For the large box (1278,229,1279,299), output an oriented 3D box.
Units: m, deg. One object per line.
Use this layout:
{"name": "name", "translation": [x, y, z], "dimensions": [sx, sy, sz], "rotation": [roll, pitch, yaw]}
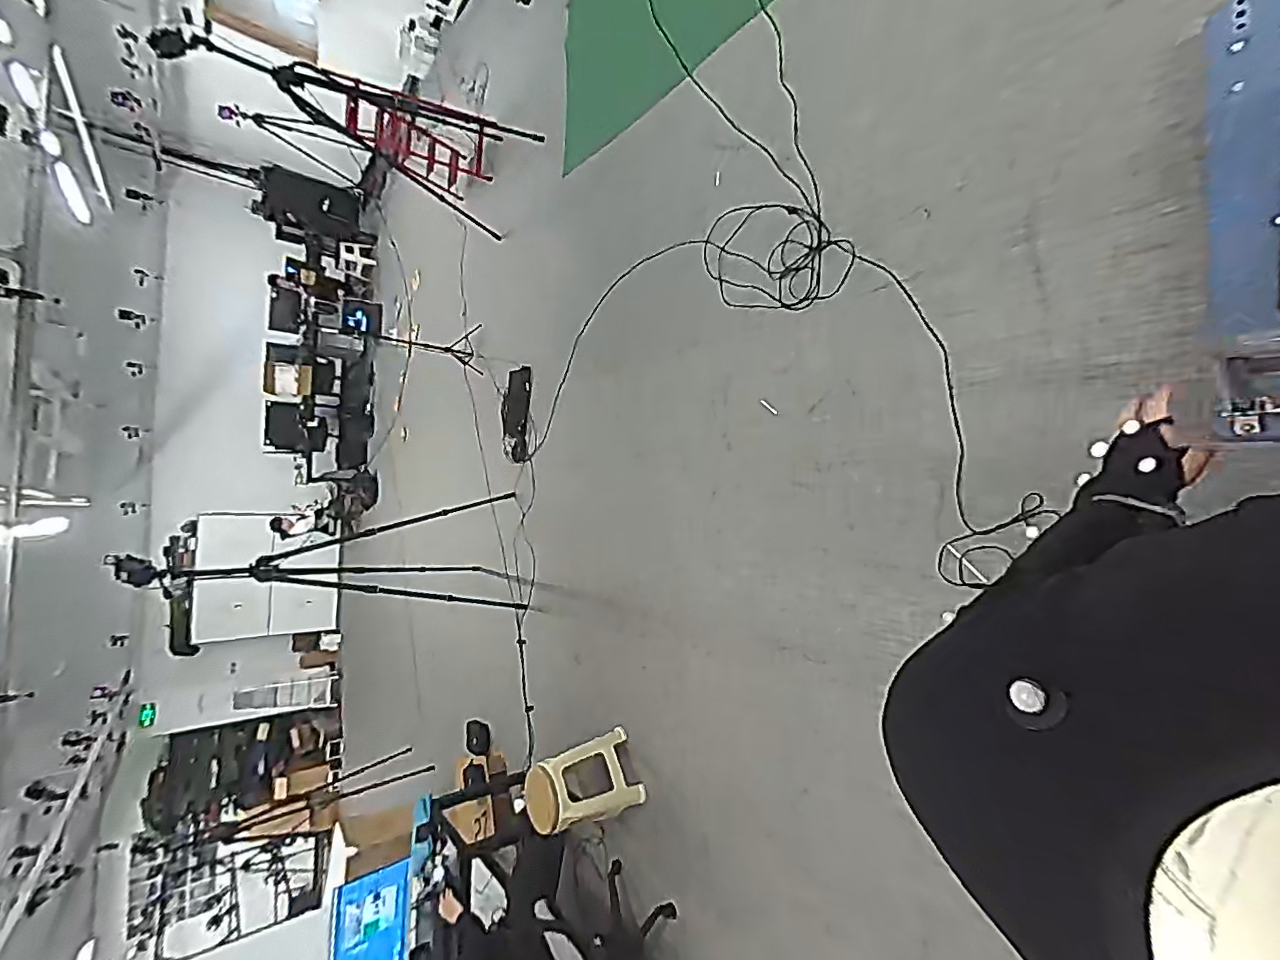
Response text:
{"name": "large box", "translation": [1.172, -0.432, 0.775], "dimensions": [0.320, 0.320, 0.408], "rotation": [3, 89, 51]}
